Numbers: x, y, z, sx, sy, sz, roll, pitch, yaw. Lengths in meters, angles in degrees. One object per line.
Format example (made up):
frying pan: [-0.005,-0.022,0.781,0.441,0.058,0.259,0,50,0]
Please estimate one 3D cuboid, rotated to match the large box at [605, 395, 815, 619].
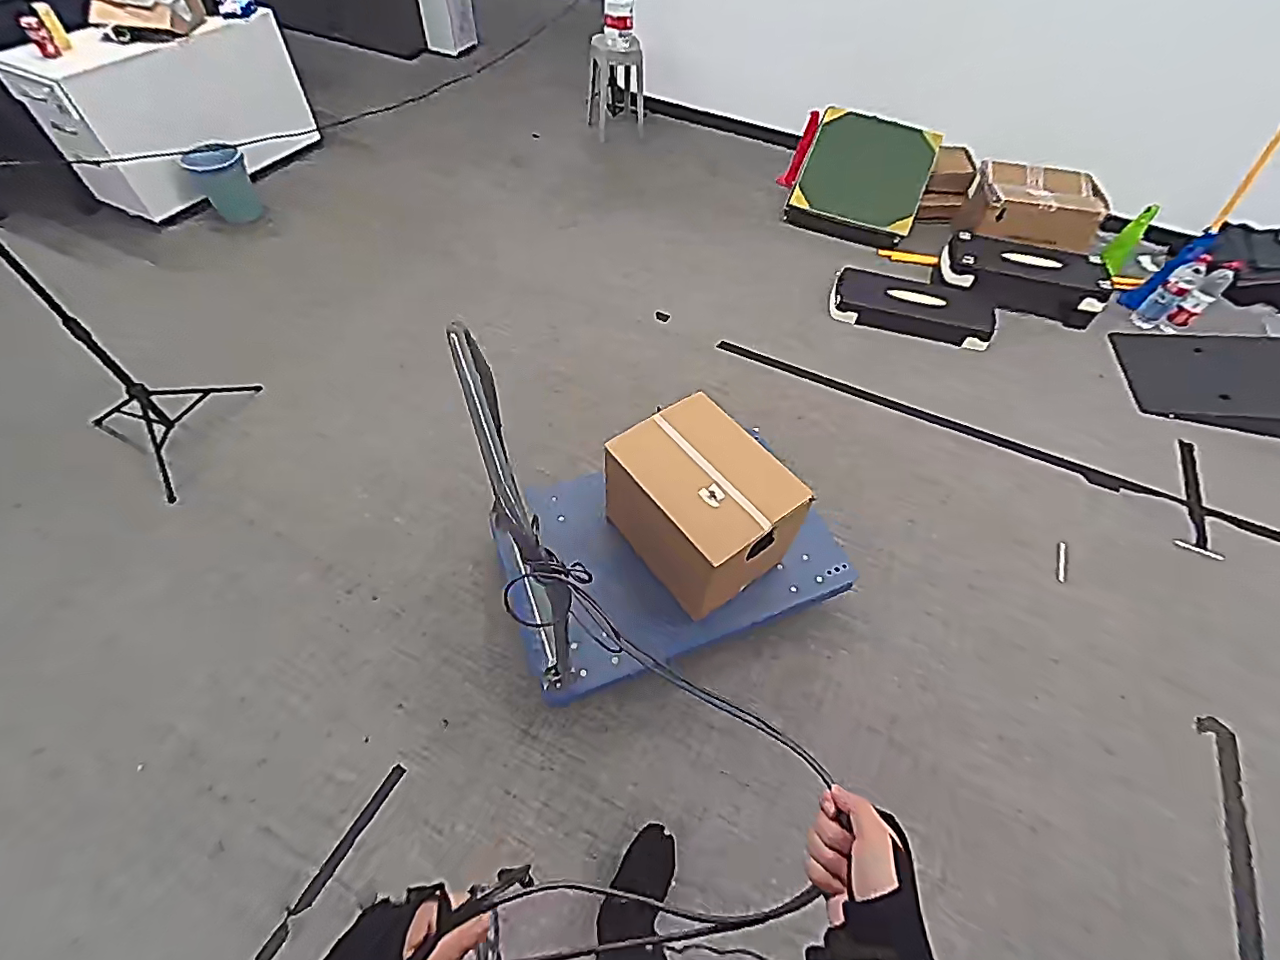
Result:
large box: [0.148,0.066,1.367,0.320,0.320,0.408,-31,63,-22]
